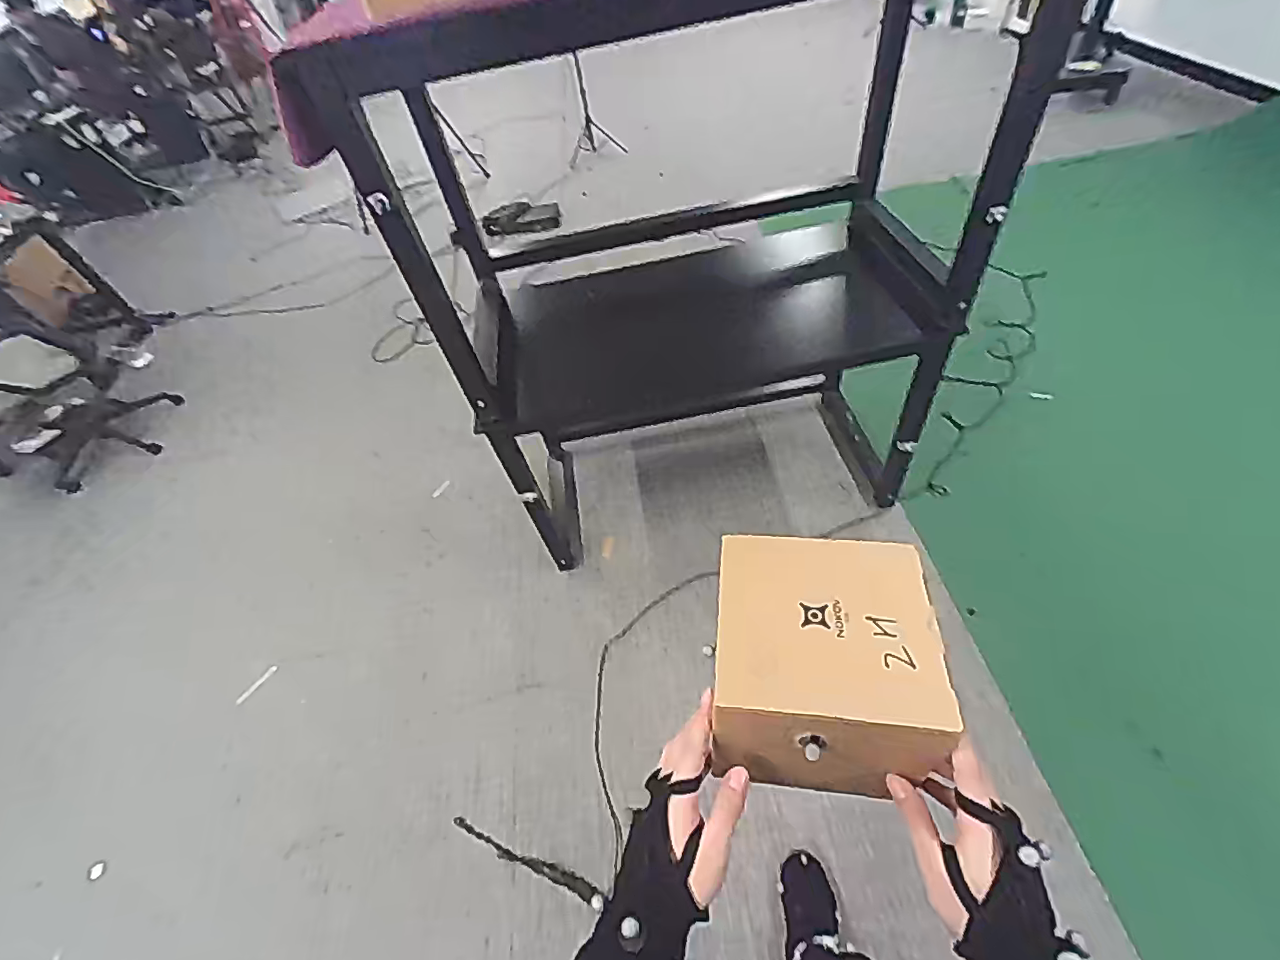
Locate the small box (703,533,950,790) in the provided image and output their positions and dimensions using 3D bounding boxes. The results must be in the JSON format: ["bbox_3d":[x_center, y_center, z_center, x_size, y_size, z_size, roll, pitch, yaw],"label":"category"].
[{"bbox_3d":[0.154,0.168,0.503,0.179,0.176,0.168,2,46,10],"label":"small box"}]

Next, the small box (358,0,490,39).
[{"bbox_3d":[-0.333,-0.770,0.783,0.179,0.176,0.168,-14,49,0],"label":"small box"}]
